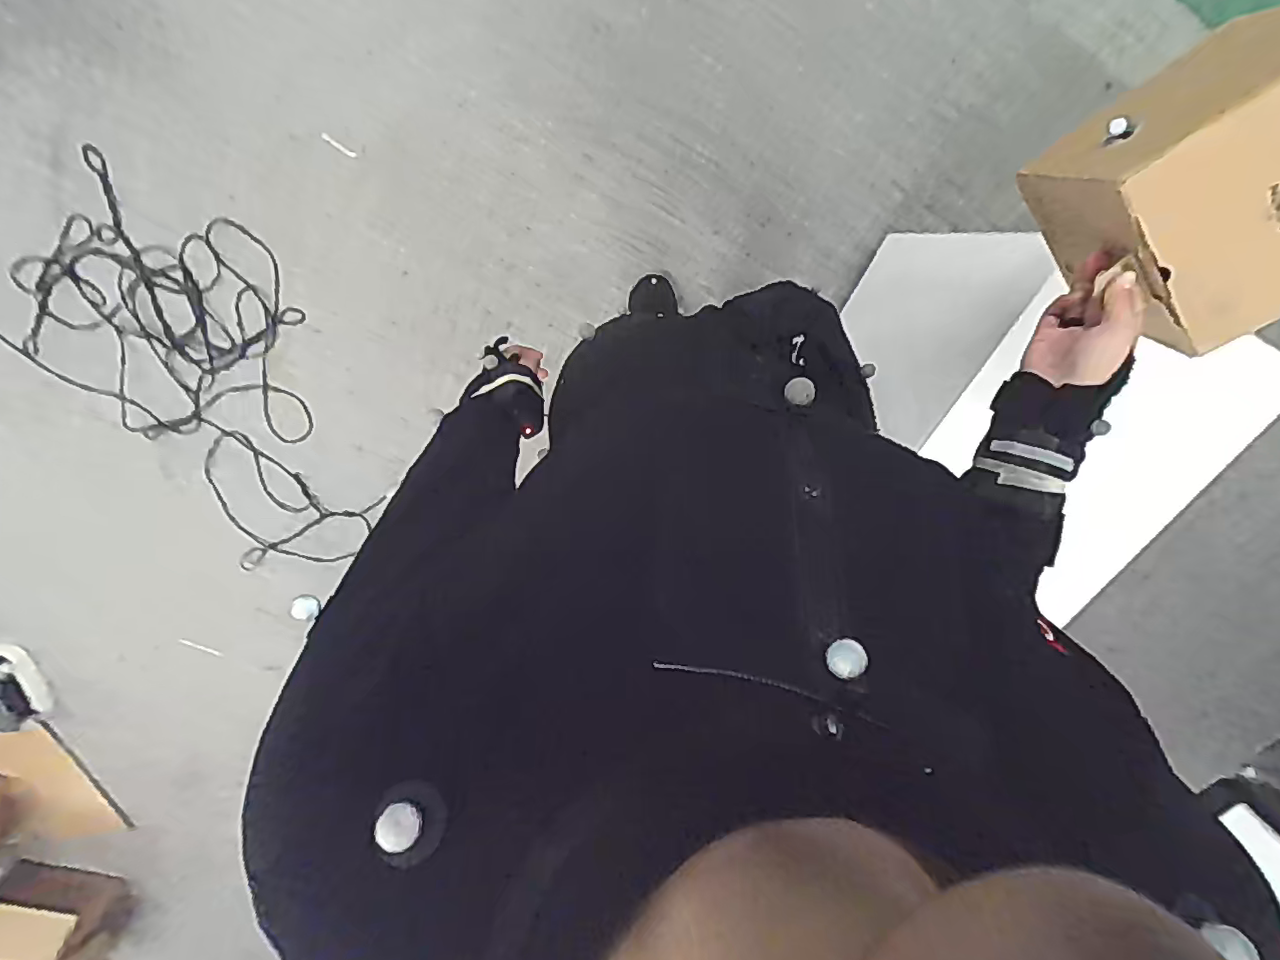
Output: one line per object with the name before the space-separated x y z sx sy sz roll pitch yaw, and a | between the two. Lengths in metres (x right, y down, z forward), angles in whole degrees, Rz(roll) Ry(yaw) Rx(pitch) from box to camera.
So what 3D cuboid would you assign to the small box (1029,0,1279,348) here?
small box | 0.455 -0.242 0.432 0.179 0.176 0.168 -35 111 25
